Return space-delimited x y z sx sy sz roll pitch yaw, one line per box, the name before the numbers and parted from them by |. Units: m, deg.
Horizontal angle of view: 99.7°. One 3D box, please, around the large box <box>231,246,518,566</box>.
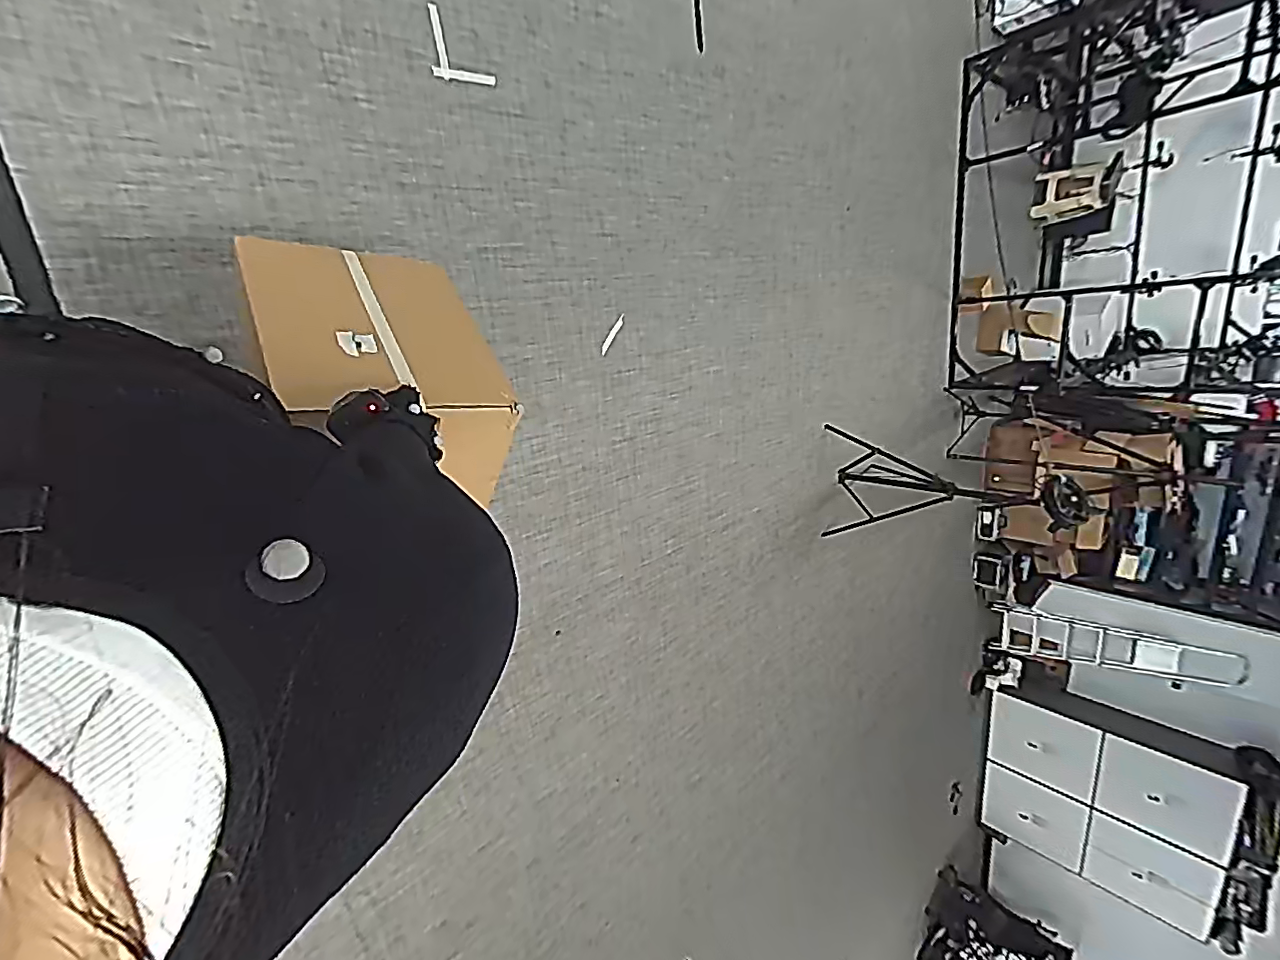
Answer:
large box | -0.463 -0.126 0.911 0.320 0.408 0.320 -9 143 -39
